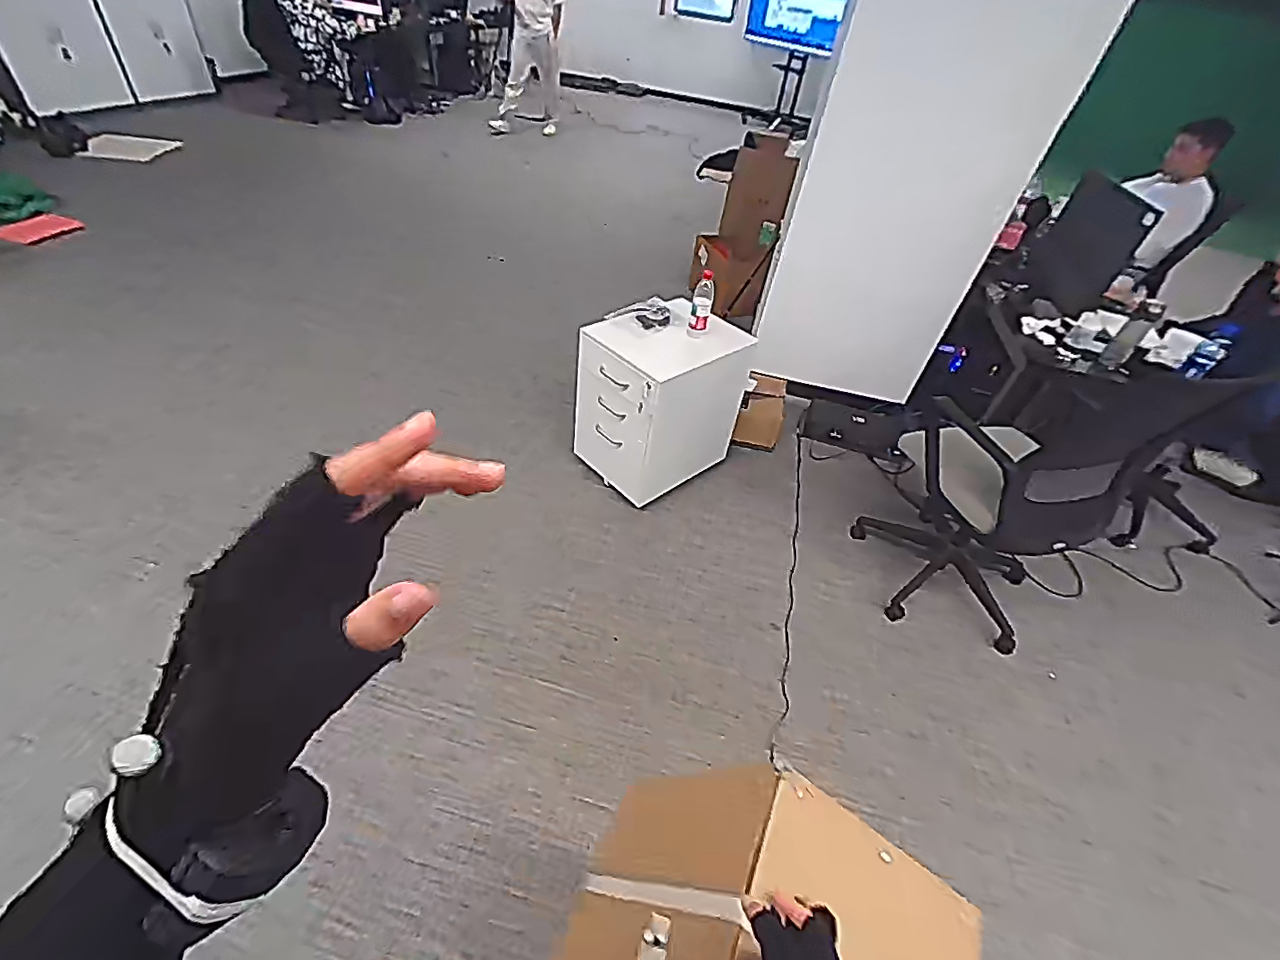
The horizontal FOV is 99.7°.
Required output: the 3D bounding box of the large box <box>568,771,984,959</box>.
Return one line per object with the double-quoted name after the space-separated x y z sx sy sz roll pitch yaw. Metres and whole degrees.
0.145 0.626 0.694 0.320 0.408 0.320 37 50 -3 "large box"
